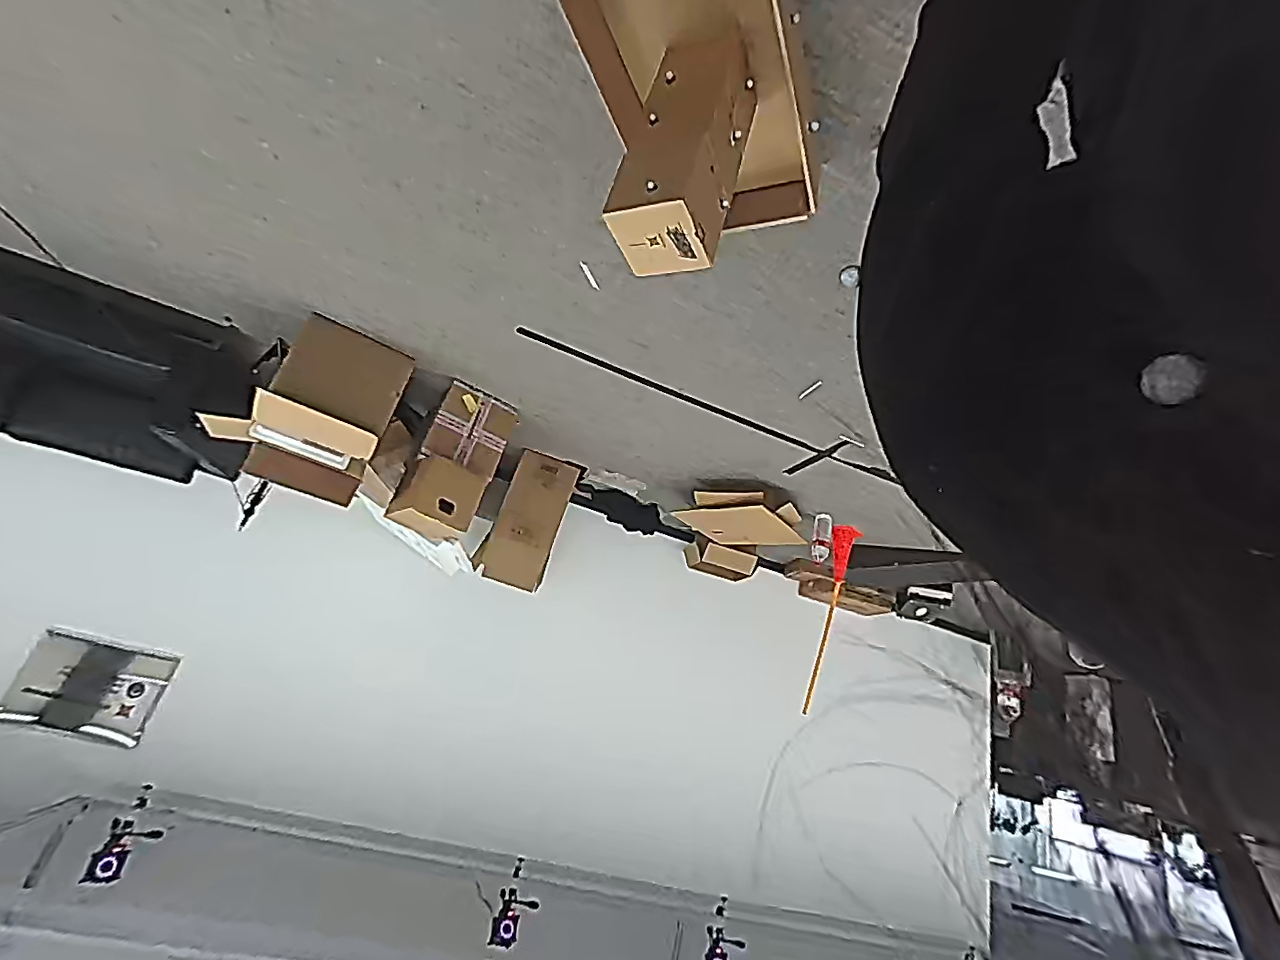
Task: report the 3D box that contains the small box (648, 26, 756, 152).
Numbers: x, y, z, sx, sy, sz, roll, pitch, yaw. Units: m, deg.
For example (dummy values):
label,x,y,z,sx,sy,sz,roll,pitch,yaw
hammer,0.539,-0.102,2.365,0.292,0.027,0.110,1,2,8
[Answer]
label,x,y,z,sx,sy,sz,roll,pitch,yaw
small box,0.142,-0.834,1.179,0.179,0.176,0.168,5,157,26

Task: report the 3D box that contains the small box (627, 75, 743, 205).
label,x,y,z,sx,sy,sz,roll,pitch,yaw
small box,0.099,-0.689,1.121,0.179,0.176,0.168,4,157,27

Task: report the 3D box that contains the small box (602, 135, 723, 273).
label,x,y,z,sx,sy,sz,roll,pitch,yaw
small box,0.055,-0.540,1.066,0.179,0.176,0.168,5,157,28
